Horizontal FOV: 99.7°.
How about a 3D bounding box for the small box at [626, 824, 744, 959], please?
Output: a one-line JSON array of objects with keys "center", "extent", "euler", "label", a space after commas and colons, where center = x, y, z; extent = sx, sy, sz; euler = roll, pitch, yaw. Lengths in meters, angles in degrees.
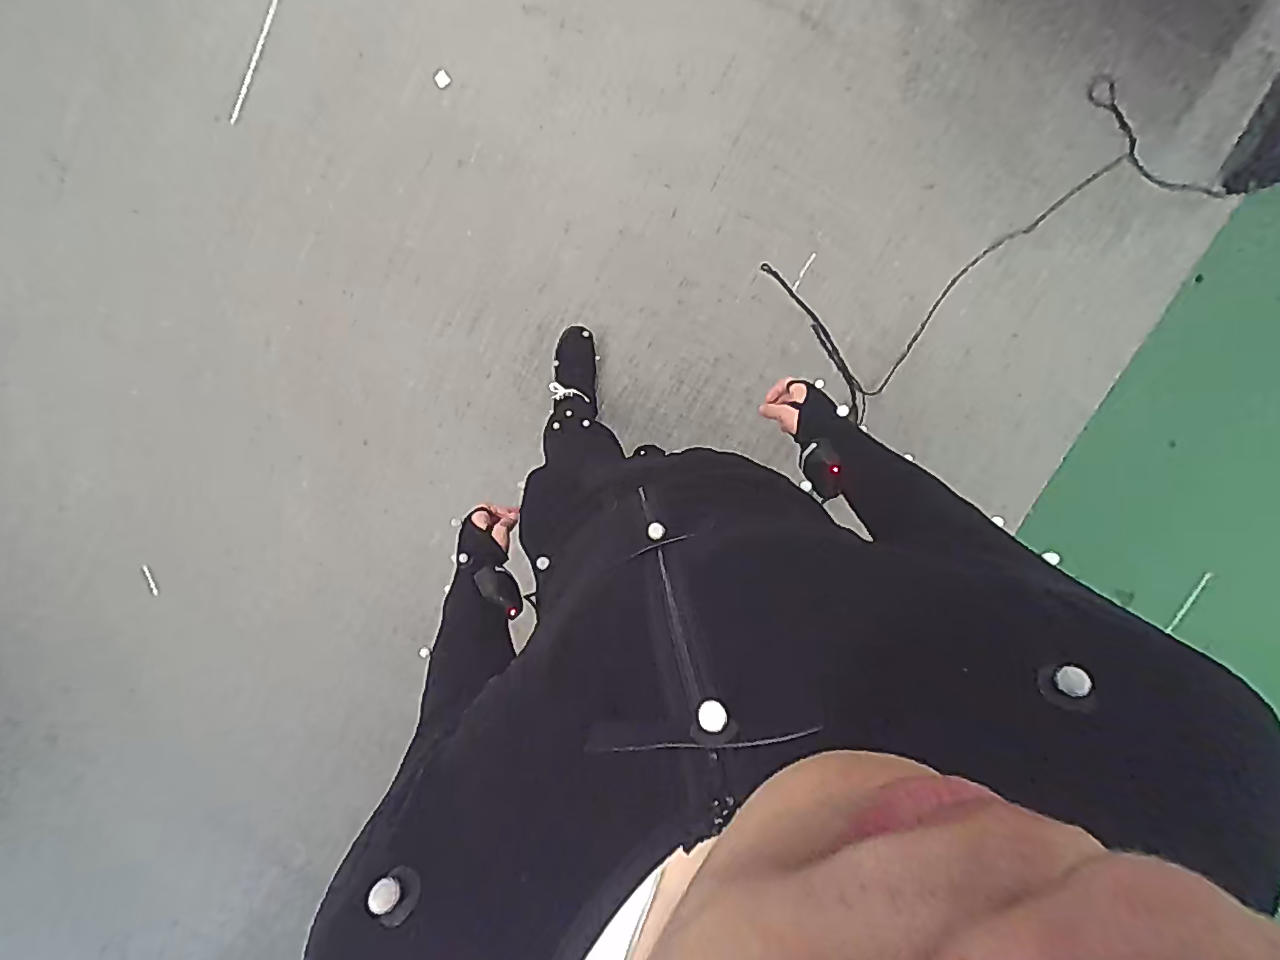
[{"center": [0.086, 0.871, 1.119], "extent": [0.168, 0.176, 0.179], "euler": [34, 98, -7], "label": "small box"}]
